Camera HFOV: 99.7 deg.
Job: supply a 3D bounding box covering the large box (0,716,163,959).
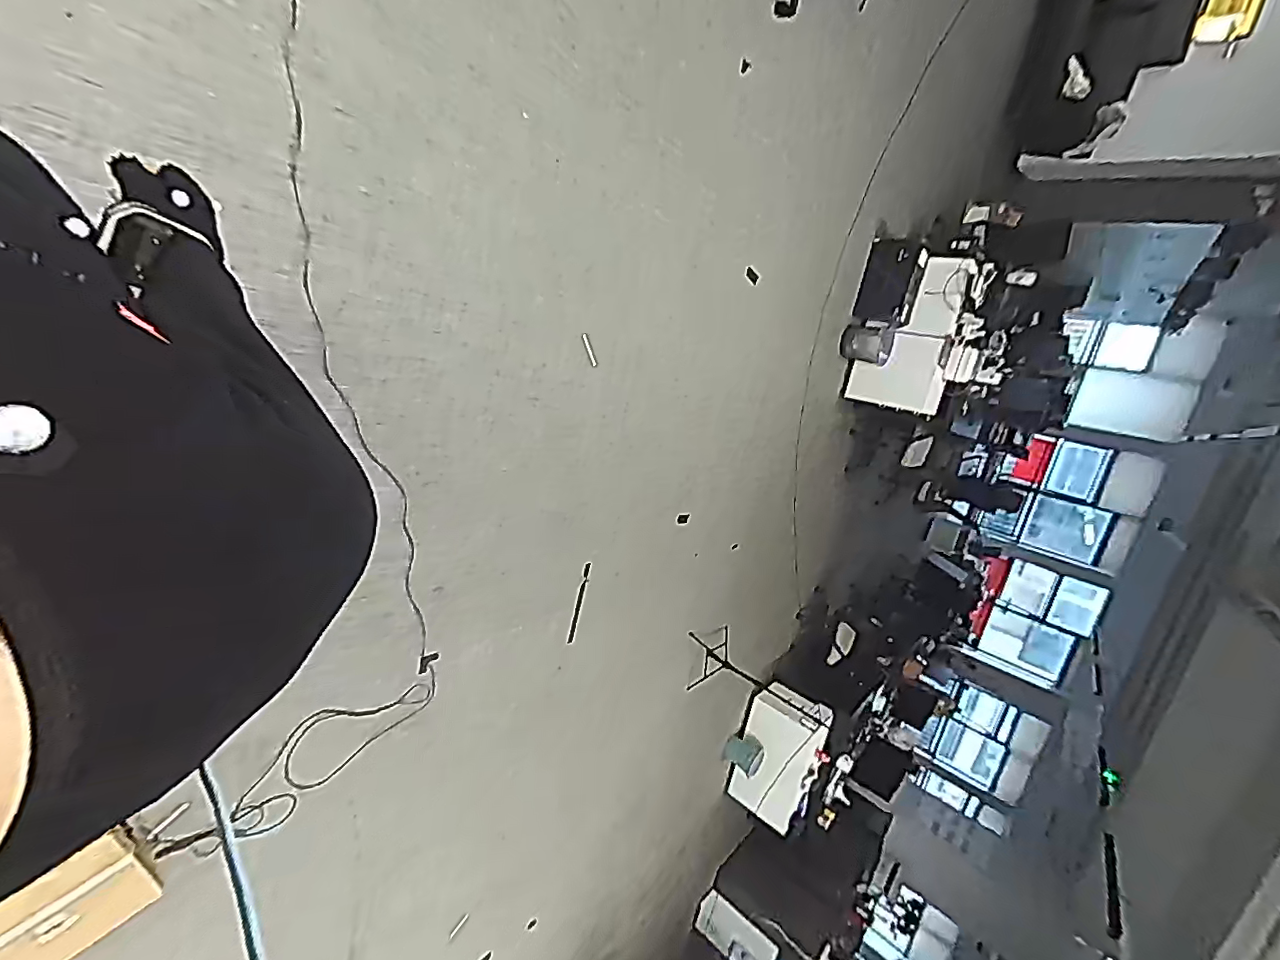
[{"bbox_3d":[-1.289,0.773,1.068,0.408,0.320,0.320,-30,130,-41],"label":"large box"}]
